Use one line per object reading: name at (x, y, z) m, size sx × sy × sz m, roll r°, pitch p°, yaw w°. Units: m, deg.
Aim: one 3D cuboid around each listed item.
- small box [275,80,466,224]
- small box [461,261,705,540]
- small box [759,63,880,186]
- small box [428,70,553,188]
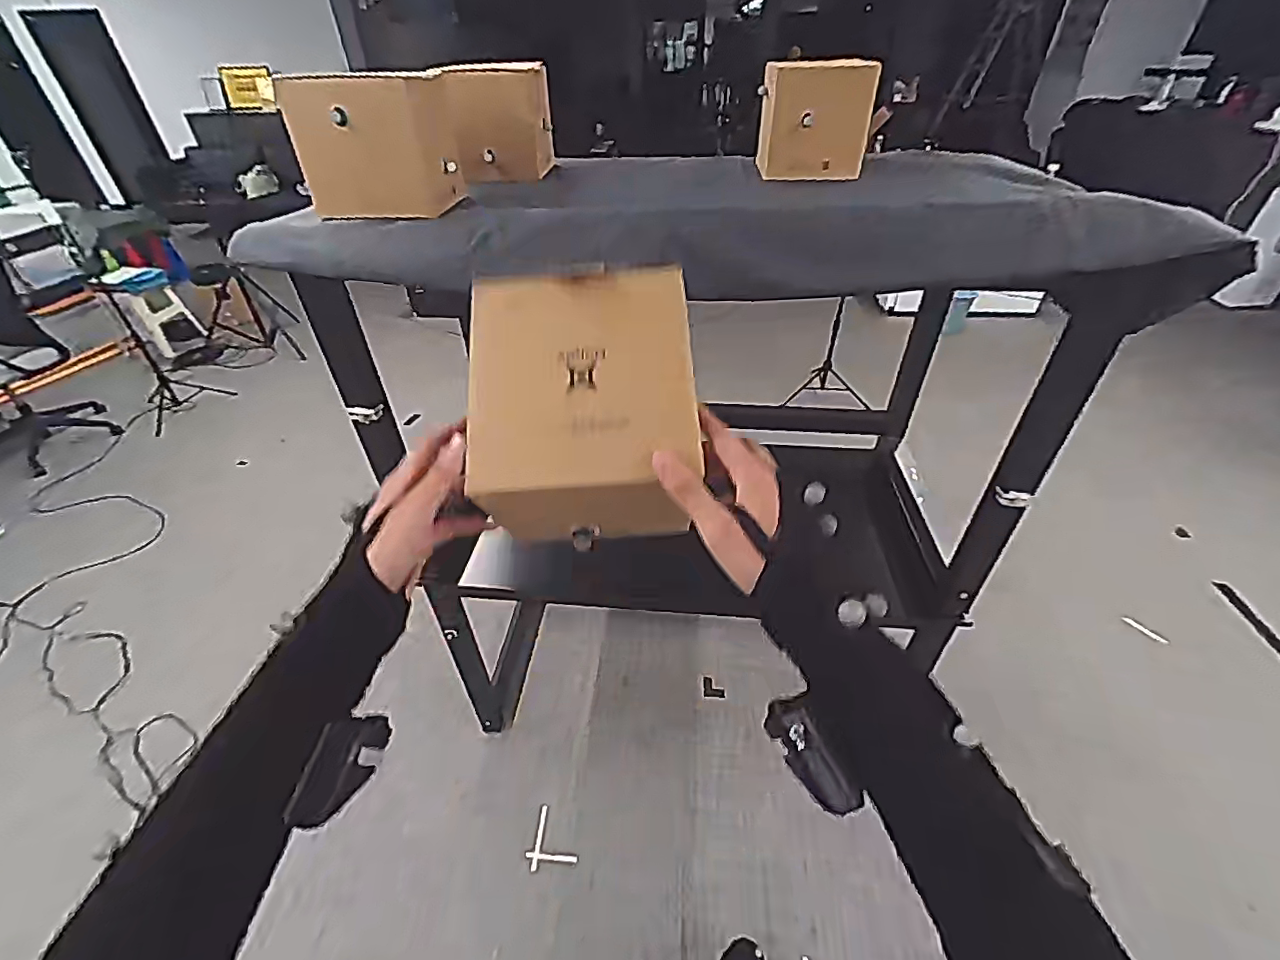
small box at (-0.377, -0.483, 0.796) m, size 0.179 × 0.176 × 0.168 m, roll 1°, pitch 38°, yaw 2°
small box at (-0.042, -0.056, 0.462) m, size 0.168 × 0.176 × 0.179 m, roll -4°, pitch 71°, yaw -1°
small box at (0.310, -0.638, 0.975) m, size 0.168 × 0.176 × 0.179 m, roll 2°, pitch 39°, yaw 5°
small box at (-0.265, -0.658, 1.014) m, size 0.179 × 0.176 × 0.168 m, roll 2°, pitch 39°, yaw 3°
